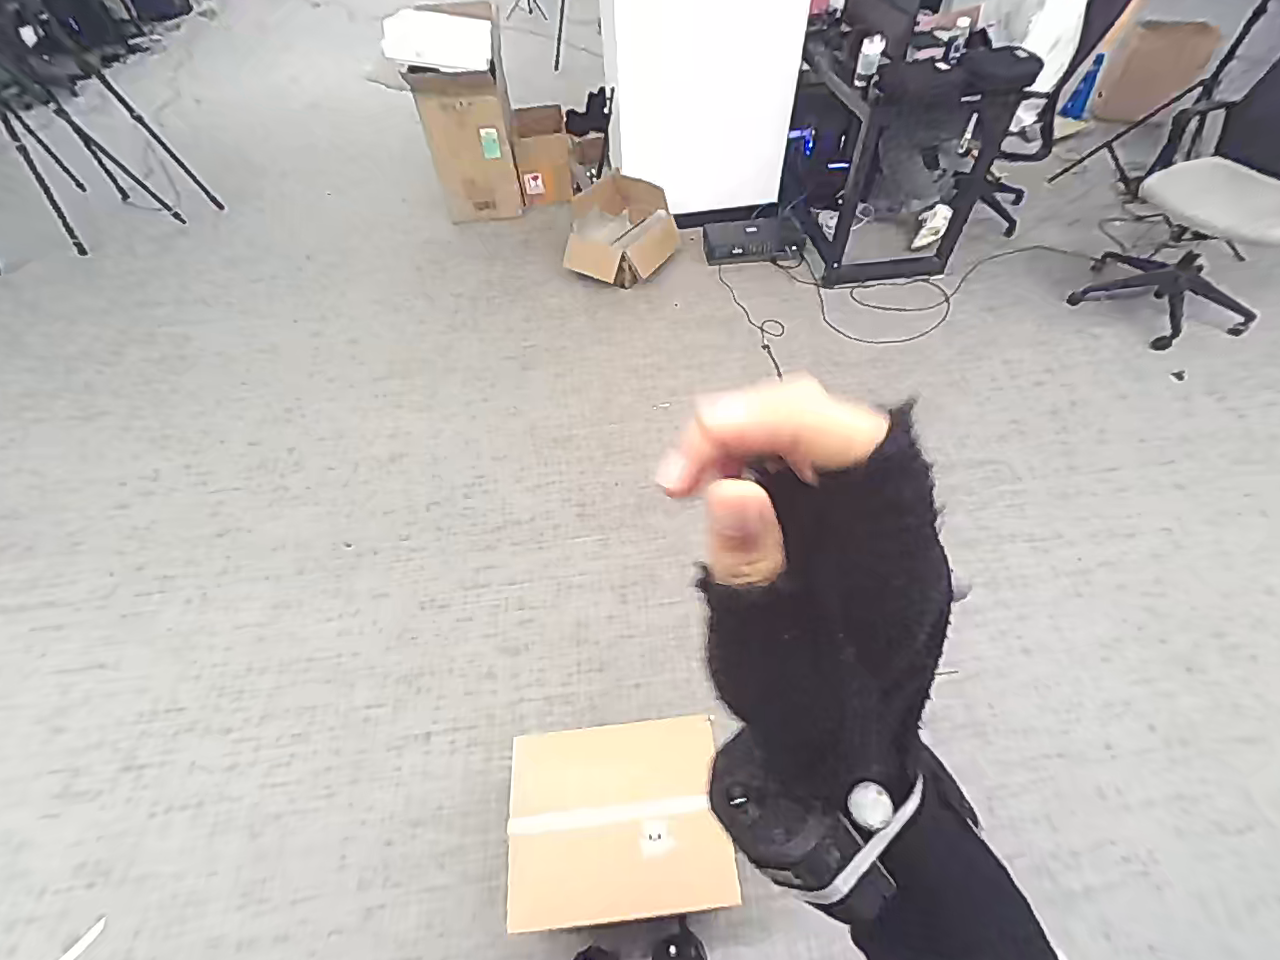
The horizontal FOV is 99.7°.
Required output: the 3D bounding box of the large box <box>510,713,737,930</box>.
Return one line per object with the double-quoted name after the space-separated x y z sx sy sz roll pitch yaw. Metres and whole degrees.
-0.042 0.718 1.138 0.408 0.320 0.320 -5 52 -3 "large box"
